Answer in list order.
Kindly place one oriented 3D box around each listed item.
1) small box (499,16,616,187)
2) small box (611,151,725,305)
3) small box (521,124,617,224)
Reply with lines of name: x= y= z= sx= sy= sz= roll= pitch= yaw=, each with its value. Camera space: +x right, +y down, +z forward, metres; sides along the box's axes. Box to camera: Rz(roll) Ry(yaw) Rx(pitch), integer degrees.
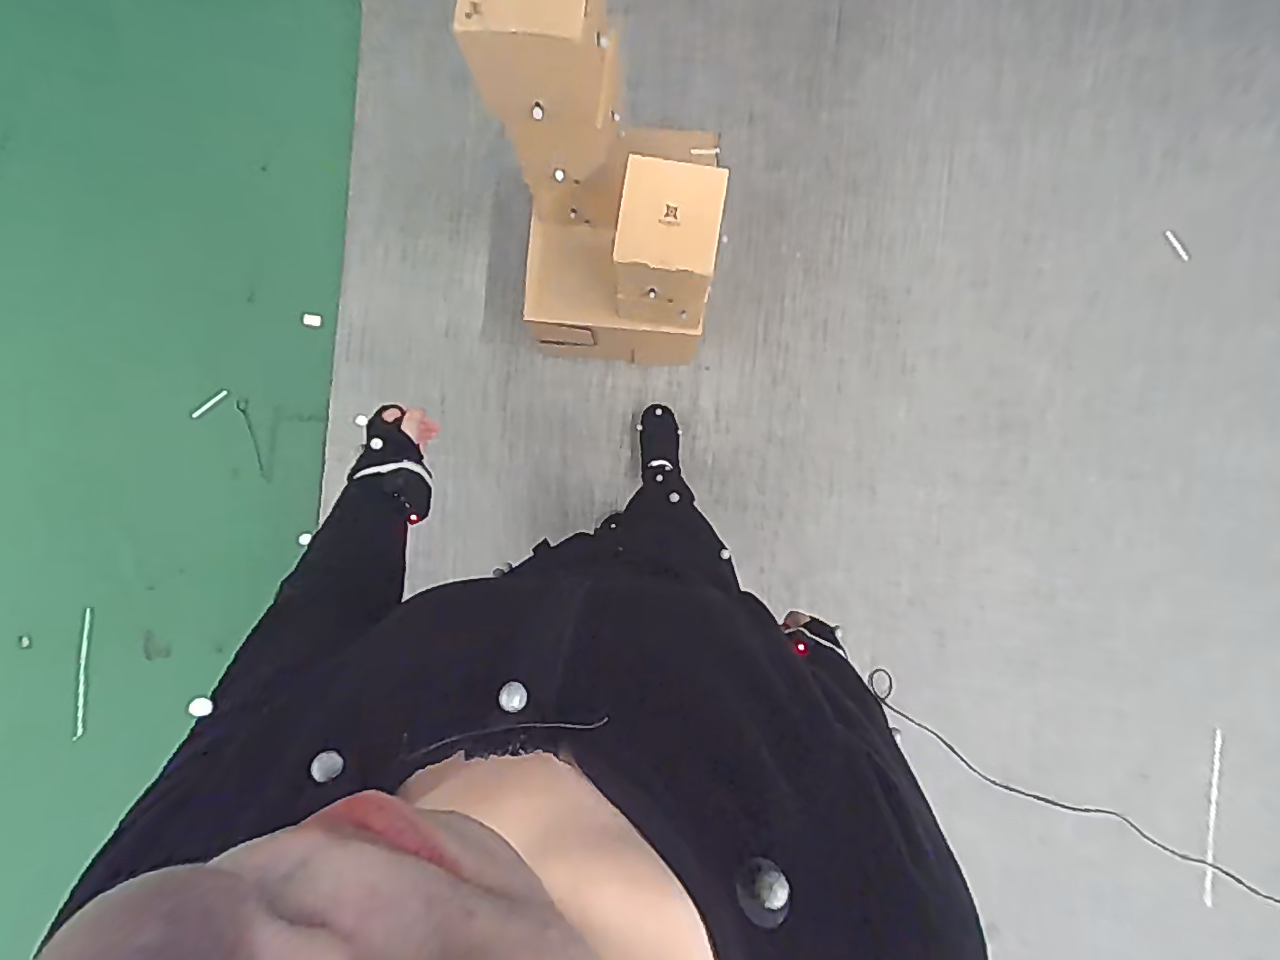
small box: x=-0.136 y=-0.657 z=0.955 sx=0.168 sy=0.176 sz=0.179 roll=7 pitch=88 yaw=2
small box: x=0.044 y=-0.431 z=0.949 sx=0.168 sy=0.176 sz=0.179 roll=8 pitch=89 yaw=0
small box: x=-0.139 y=-0.664 z=1.121 sx=0.168 sy=0.176 sz=0.179 roll=5 pitch=87 yaw=2
